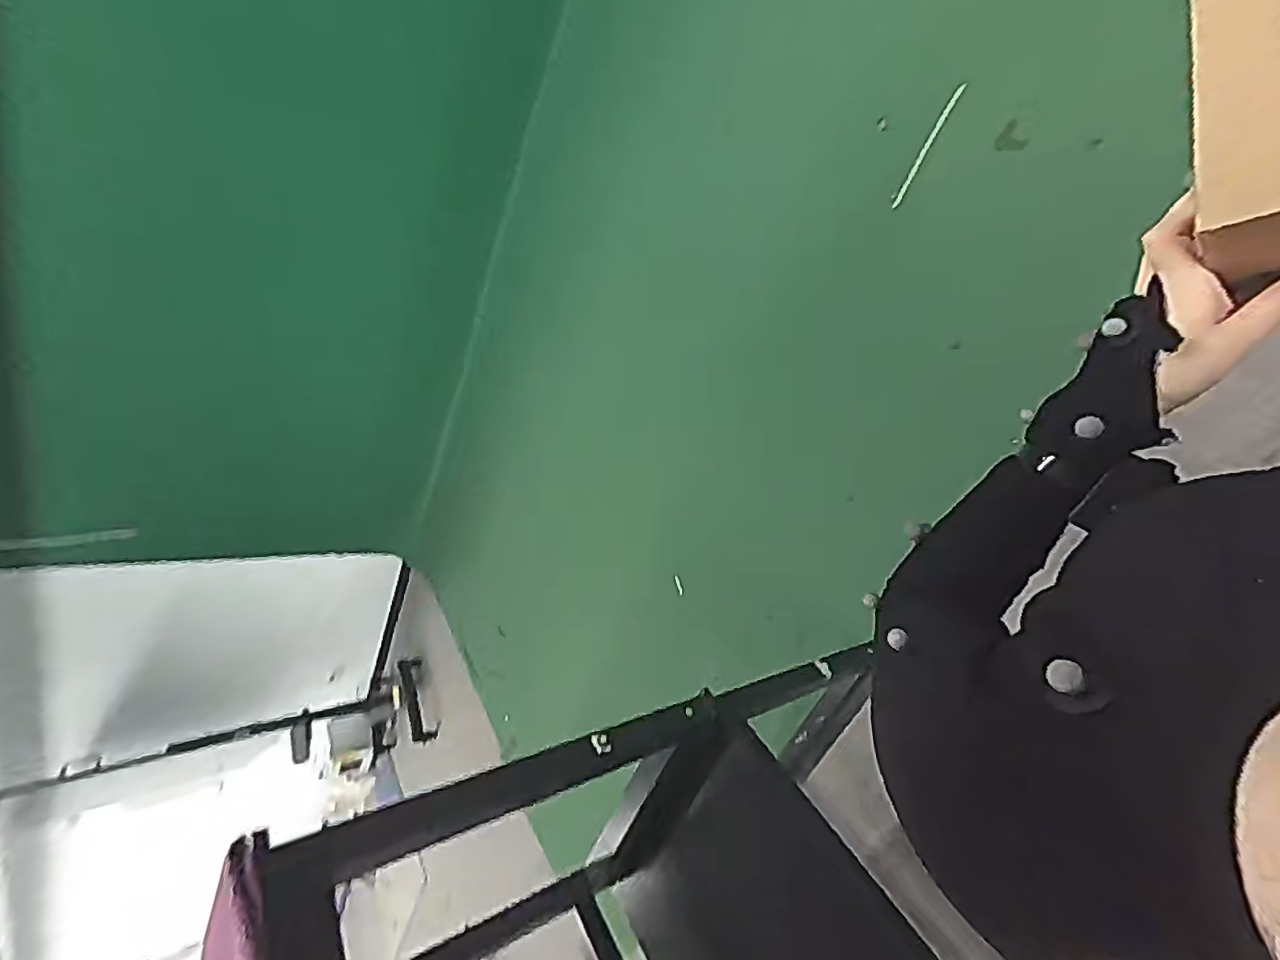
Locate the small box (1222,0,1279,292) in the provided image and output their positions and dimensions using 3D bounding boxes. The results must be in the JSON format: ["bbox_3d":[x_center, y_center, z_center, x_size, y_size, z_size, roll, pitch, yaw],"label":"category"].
[{"bbox_3d":[0.430,-0.217,0.273,0.179,0.176,0.168,-1,84,52],"label":"small box"}]
